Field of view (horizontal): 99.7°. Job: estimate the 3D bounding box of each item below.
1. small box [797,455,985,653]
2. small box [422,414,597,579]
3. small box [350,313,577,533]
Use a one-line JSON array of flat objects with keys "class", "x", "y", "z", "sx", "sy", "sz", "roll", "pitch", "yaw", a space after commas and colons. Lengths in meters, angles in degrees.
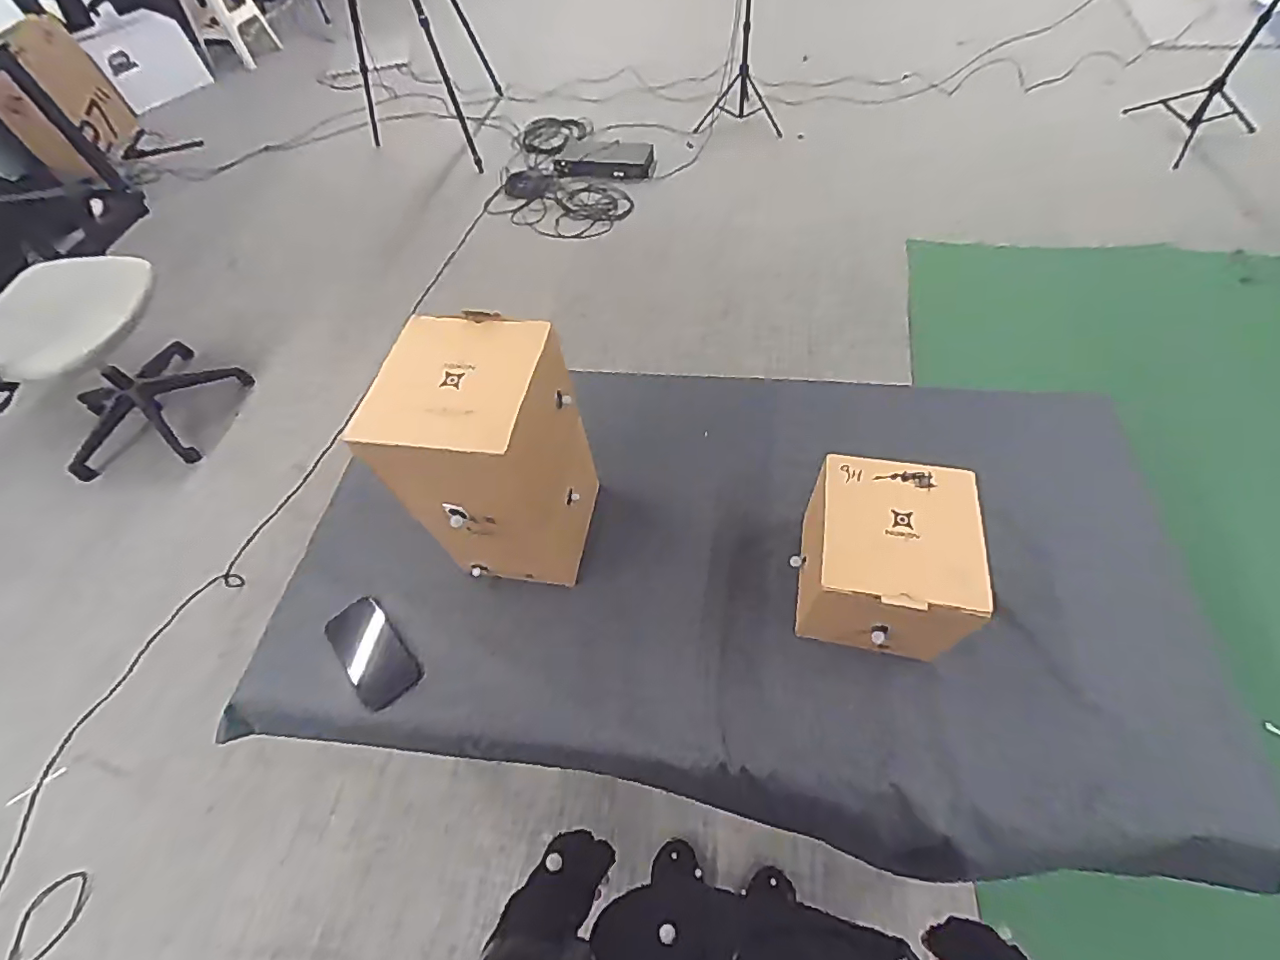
[{"class": "small box", "x": 0.289, "y": 0.095, "z": 0.657, "sx": 0.168, "sy": 0.176, "sz": 0.179, "roll": 8, "pitch": 59, "yaw": 11}, {"class": "small box", "x": -0.163, "y": 0.021, "z": 0.748, "sx": 0.168, "sy": 0.176, "sz": 0.179, "roll": 6, "pitch": 57, "yaw": 9}, {"class": "small box", "x": -0.176, "y": -0.062, "z": 0.609, "sx": 0.168, "sy": 0.176, "sz": 0.179, "roll": 5, "pitch": 59, "yaw": 10}]
